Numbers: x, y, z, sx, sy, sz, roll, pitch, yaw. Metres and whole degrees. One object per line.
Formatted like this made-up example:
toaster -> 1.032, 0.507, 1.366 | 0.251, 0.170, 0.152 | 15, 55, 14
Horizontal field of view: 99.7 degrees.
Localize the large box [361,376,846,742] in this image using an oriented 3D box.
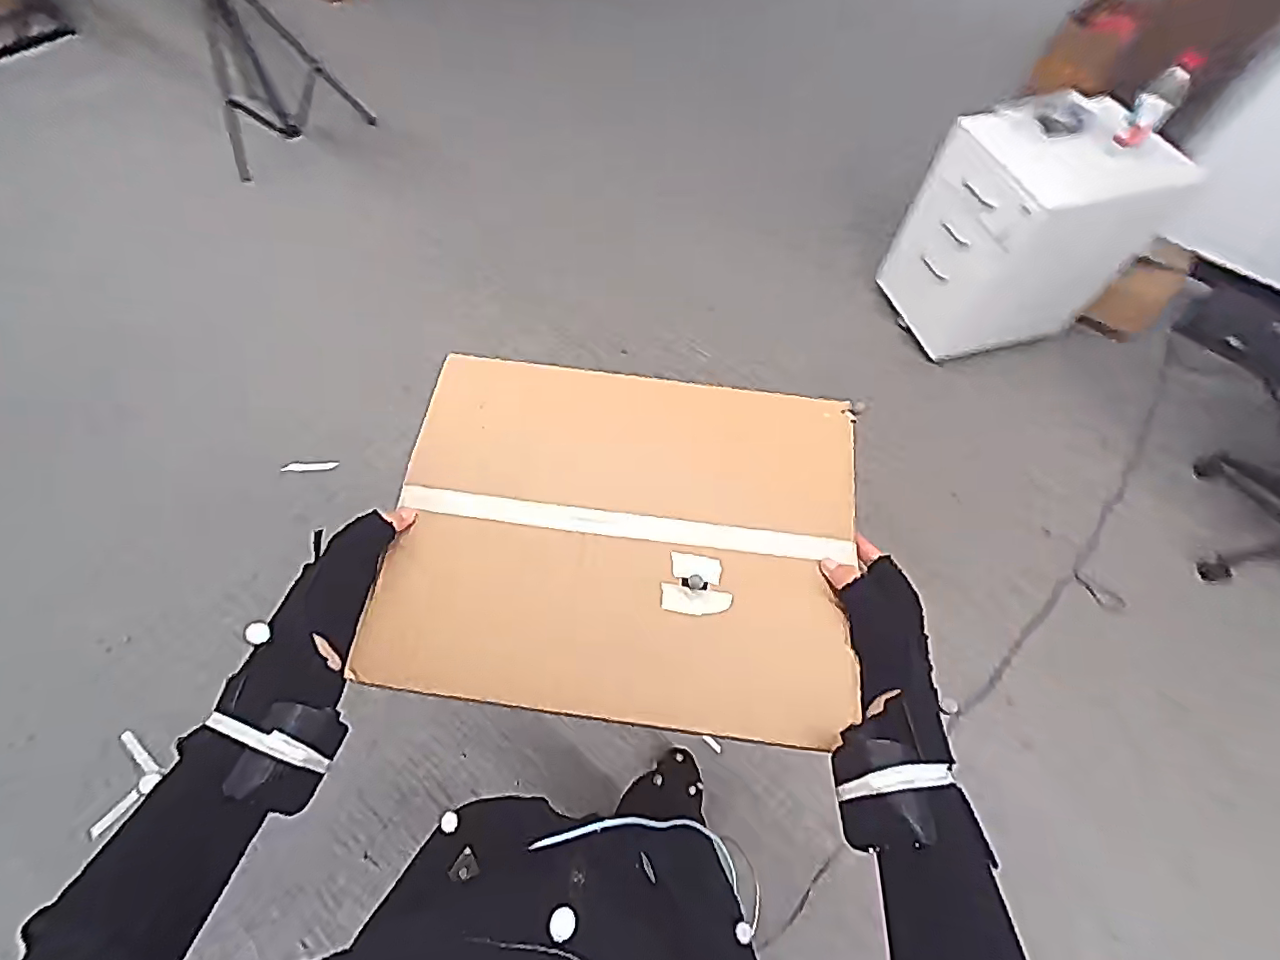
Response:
large box -> -0.022, 0.109, 0.629 | 0.408, 0.320, 0.320 | 7, 68, 1
